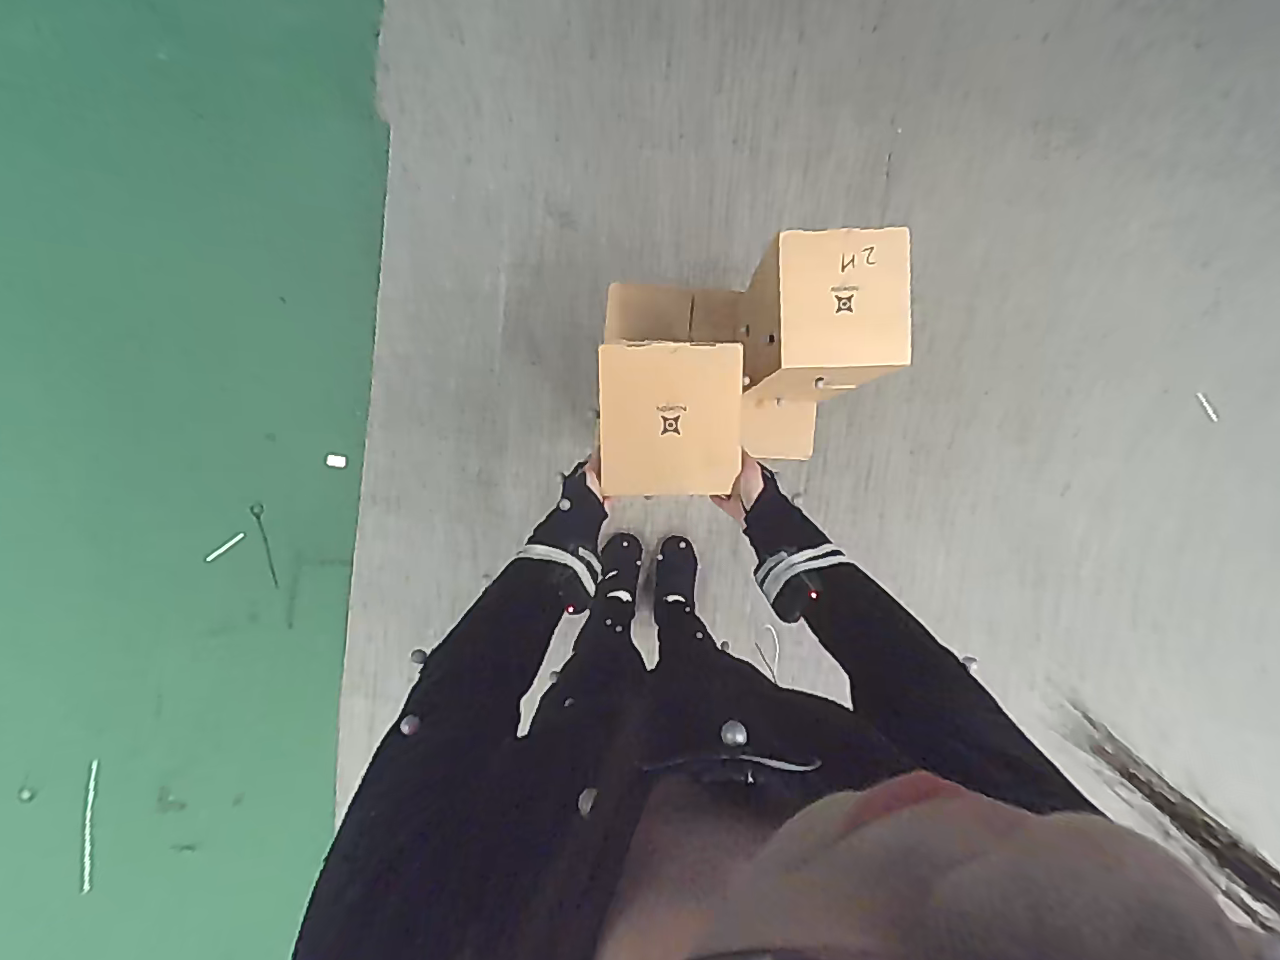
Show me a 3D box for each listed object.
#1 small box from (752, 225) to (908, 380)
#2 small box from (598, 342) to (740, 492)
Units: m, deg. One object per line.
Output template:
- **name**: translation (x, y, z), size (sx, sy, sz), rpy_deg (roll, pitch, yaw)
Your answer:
- **small box**: translation (0.258, -0.238, 0.766), size (0.168, 0.176, 0.179), rpy_deg (-1, 92, 0)
- **small box**: translation (0.033, -0.082, 0.708), size (0.168, 0.176, 0.179), rpy_deg (-1, 96, -1)
